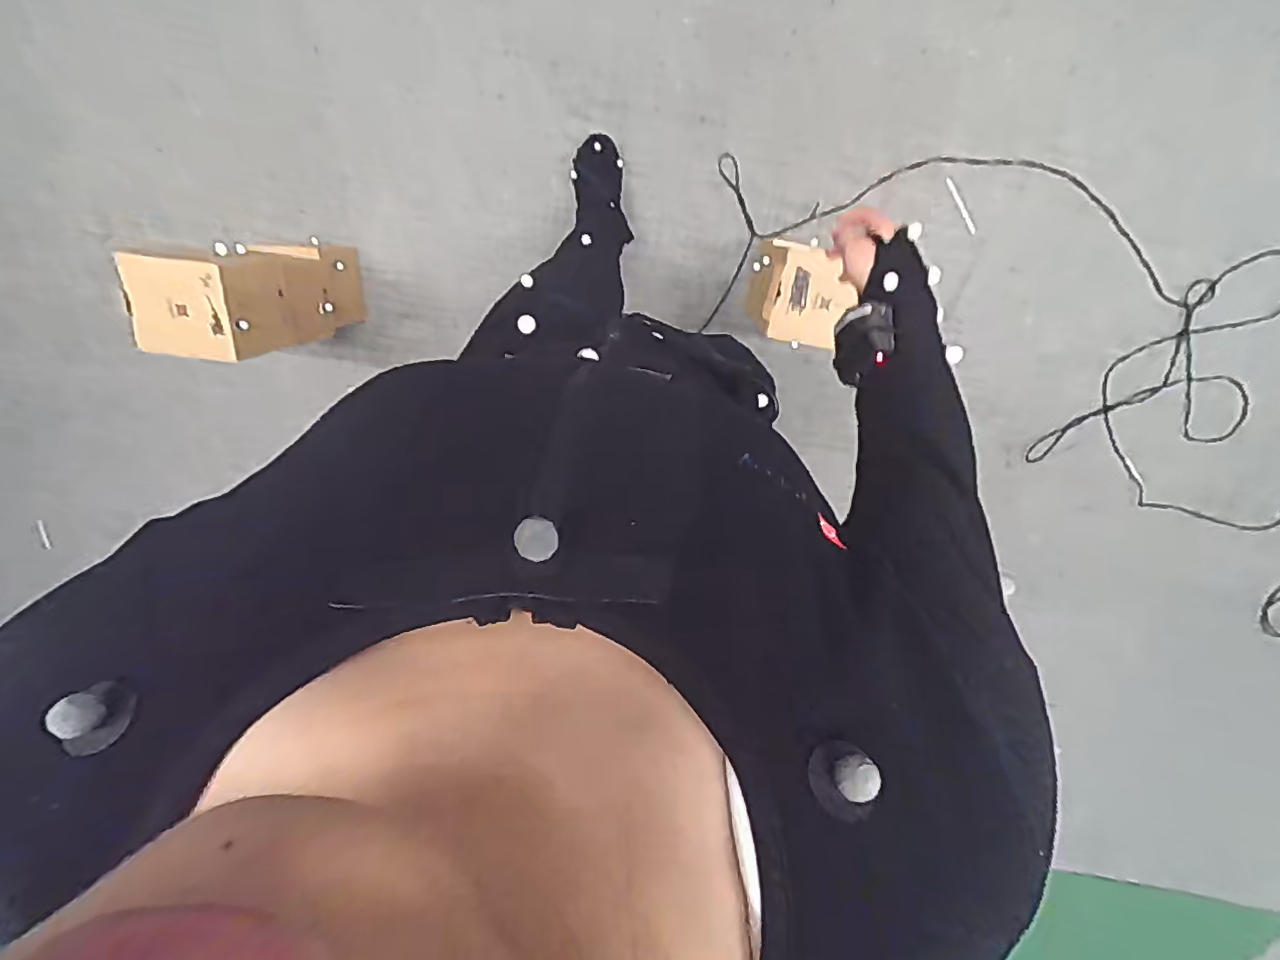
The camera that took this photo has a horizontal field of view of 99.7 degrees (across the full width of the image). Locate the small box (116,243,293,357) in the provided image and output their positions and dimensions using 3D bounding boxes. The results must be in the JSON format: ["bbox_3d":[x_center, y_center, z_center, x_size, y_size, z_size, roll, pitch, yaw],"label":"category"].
[{"bbox_3d":[-0.782,-0.333,0.991,0.179,0.176,0.168,8,115,0],"label":"small box"}]

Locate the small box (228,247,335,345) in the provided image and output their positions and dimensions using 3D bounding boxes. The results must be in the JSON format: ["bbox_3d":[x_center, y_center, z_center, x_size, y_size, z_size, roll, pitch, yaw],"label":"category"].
[{"bbox_3d":[-0.781,-0.394,1.143,0.179,0.176,0.168,7,115,-2],"label":"small box"}]

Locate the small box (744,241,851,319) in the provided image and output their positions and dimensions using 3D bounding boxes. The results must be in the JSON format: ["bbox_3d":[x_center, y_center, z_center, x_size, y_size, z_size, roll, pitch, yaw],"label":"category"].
[{"bbox_3d":[0.348,-0.442,1.239,0.179,0.176,0.168,11,114,-3],"label":"small box"}]

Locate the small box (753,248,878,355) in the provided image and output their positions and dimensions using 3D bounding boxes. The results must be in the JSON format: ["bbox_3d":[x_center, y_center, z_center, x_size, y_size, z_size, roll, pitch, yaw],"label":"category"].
[{"bbox_3d":[0.340,-0.365,1.094,0.179,0.176,0.168,11,114,-4],"label":"small box"}]
